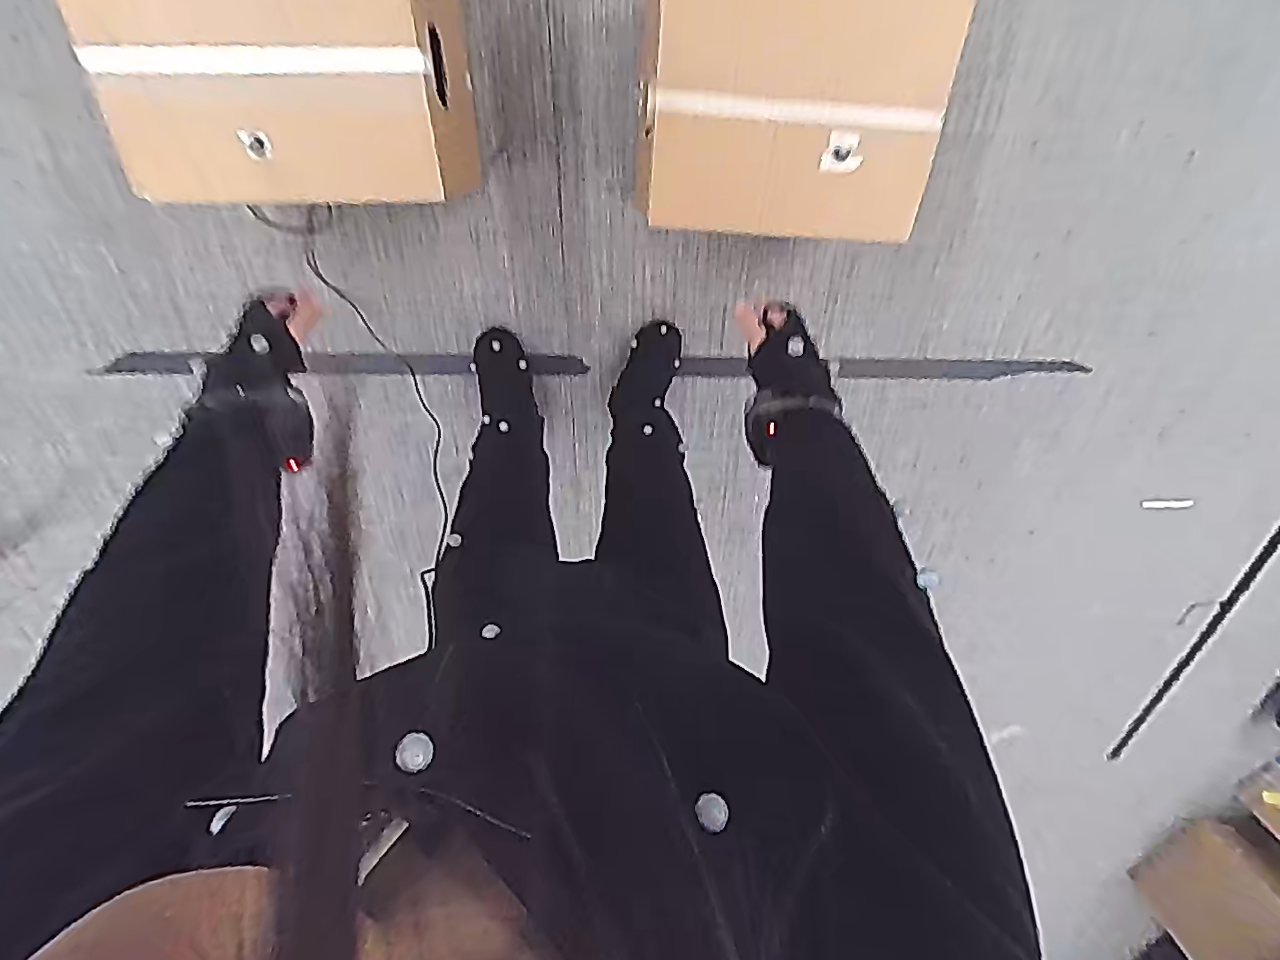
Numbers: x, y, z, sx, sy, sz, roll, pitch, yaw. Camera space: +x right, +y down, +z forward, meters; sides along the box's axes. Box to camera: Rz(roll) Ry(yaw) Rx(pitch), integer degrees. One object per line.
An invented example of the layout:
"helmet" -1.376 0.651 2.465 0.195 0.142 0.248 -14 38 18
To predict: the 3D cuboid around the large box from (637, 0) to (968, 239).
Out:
"large box" 0.210 -0.582 0.878 0.408 0.320 0.320 1 120 -6
